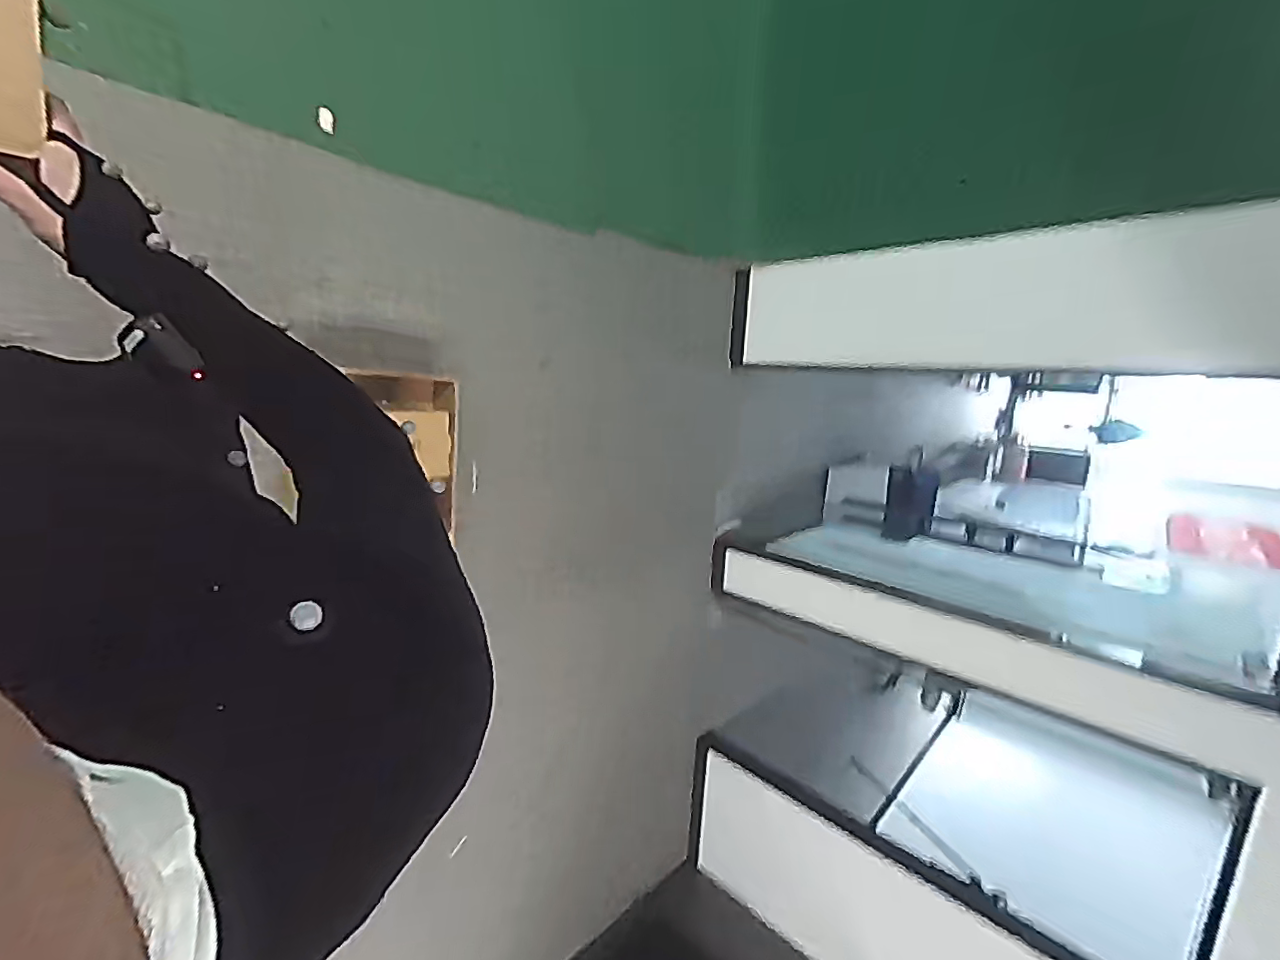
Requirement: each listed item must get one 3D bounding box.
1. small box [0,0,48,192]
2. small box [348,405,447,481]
[{"bbox_3d":[-0.586,-0.349,0.416,0.168,0.176,0.179,-6,105,-47],"label":"small box"},{"bbox_3d":[-0.604,-0.099,1.348,0.179,0.176,0.168,-9,106,-46],"label":"small box"}]
